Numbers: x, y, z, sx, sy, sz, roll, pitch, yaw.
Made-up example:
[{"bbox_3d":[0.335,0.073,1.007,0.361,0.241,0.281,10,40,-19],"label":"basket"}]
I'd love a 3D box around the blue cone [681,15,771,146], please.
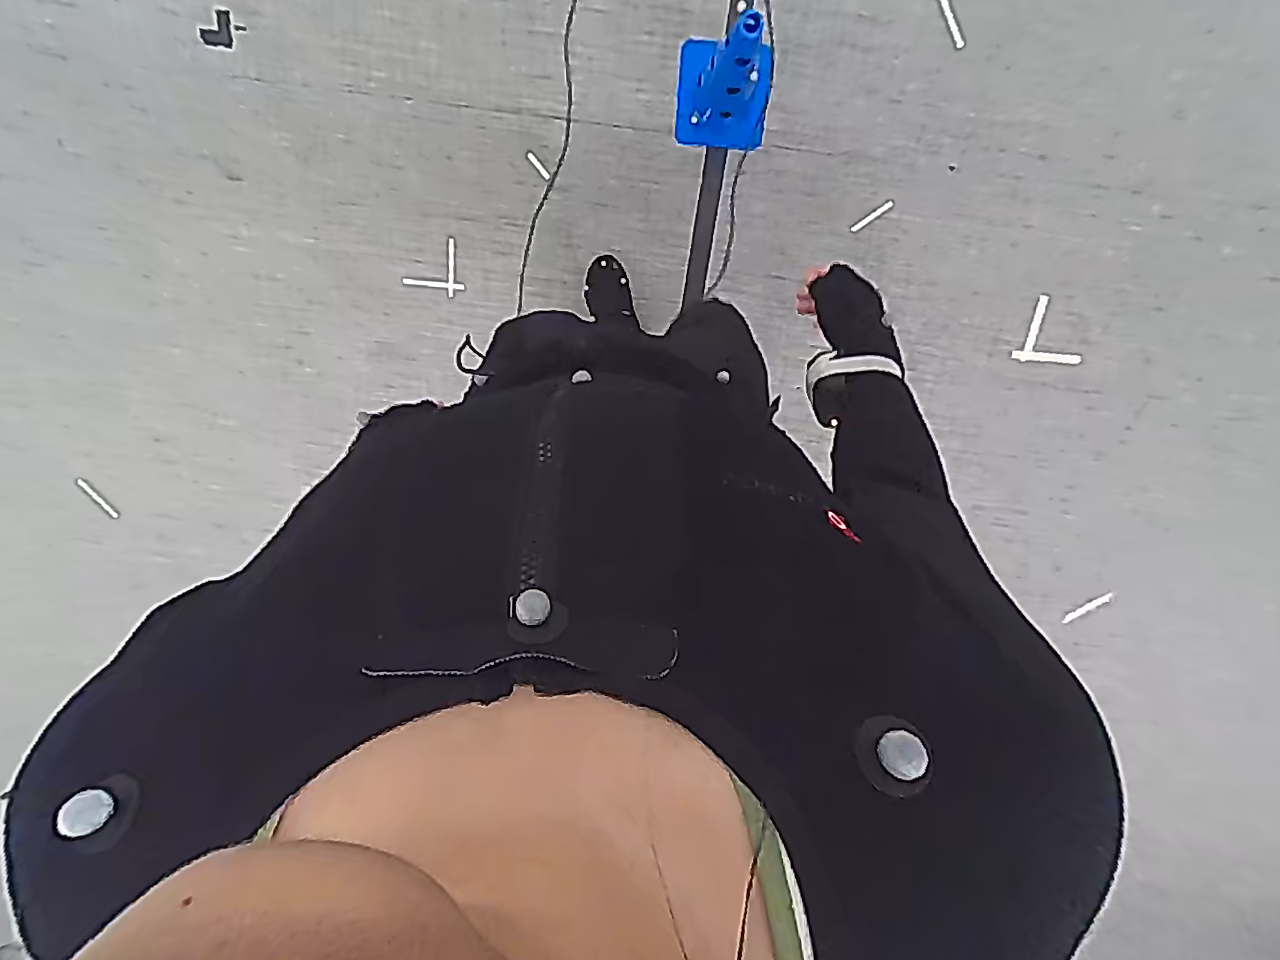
[{"bbox_3d":[0.185,-0.781,1.026,0.192,0.380,0.193,2,111,0],"label":"blue cone"}]
